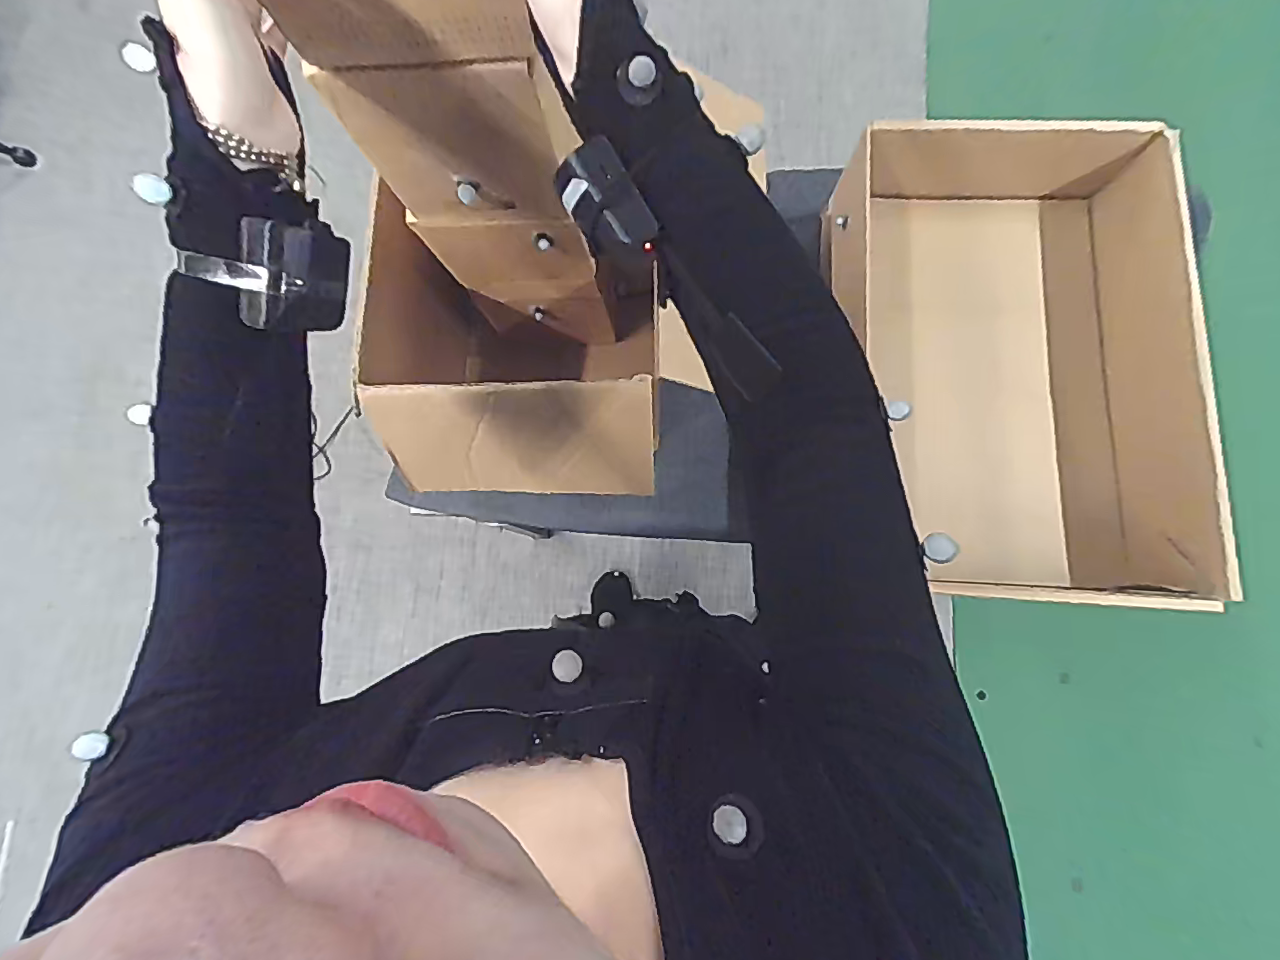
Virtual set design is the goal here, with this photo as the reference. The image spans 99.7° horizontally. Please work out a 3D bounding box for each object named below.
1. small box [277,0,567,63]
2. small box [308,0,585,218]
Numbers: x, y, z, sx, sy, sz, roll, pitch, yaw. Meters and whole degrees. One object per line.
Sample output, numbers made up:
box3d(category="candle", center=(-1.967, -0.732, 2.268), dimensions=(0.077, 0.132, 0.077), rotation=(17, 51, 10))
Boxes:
box3d(category="small box", center=(-0.142, -0.373, 0.297), dimensions=(0.179, 0.176, 0.168), rotation=(0, 83, 5))
box3d(category="small box", center=(-0.144, -0.357, 0.465), dimensions=(0.168, 0.176, 0.179), rotation=(2, 84, 4))
